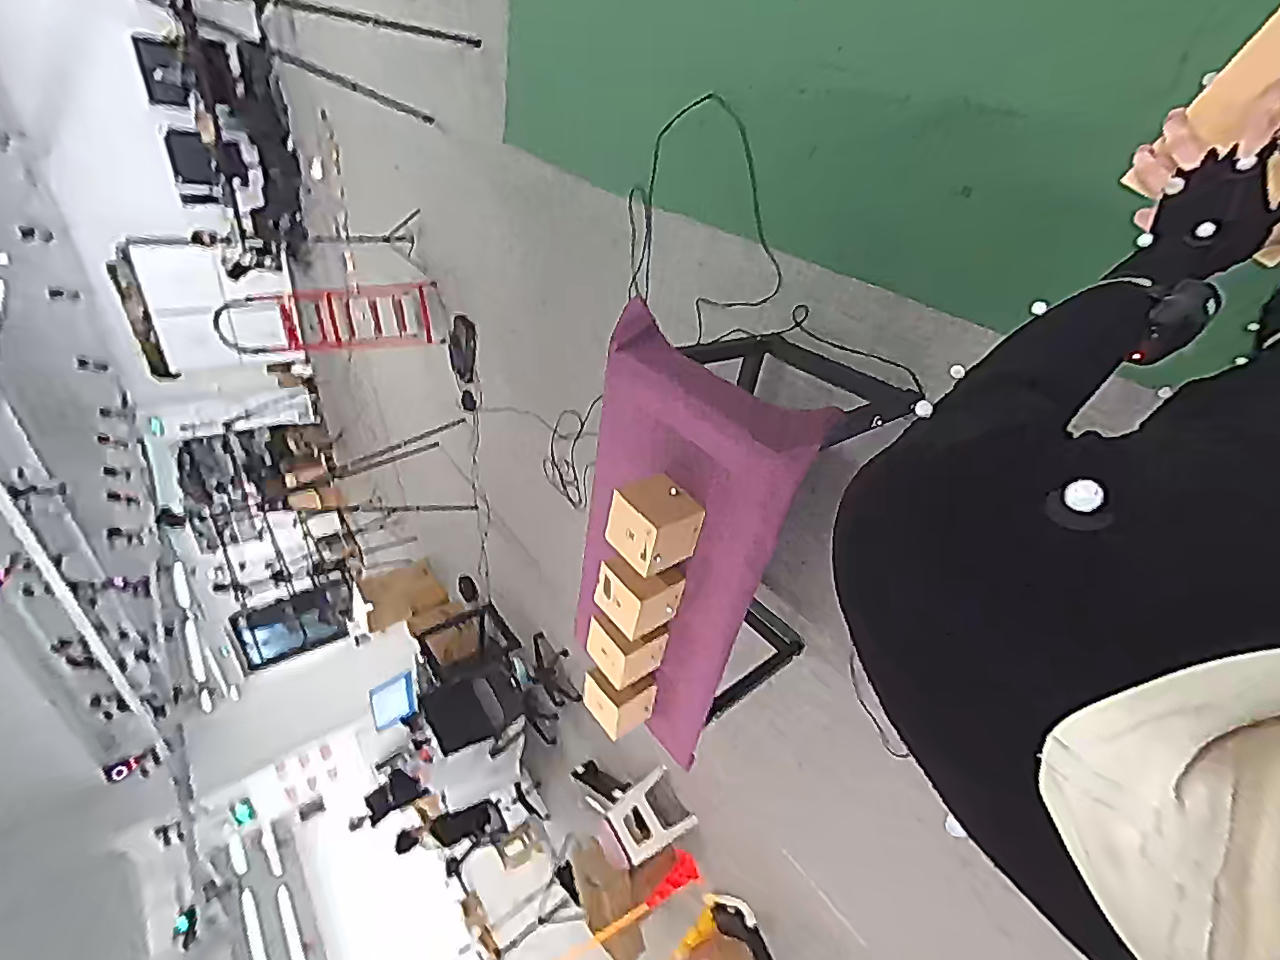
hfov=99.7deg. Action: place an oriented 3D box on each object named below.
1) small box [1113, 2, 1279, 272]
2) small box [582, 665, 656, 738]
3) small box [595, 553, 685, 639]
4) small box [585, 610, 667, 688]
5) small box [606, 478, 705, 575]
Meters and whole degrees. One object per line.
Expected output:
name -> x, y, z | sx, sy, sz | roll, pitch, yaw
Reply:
small box -> 0.646, -0.333, 0.538 | 0.168, 0.176, 0.179 | 54, 143, 25
small box -> -0.073, 0.710, 1.804 | 0.179, 0.176, 0.168 | 36, 131, 38
small box -> -0.002, 0.310, 1.540 | 0.179, 0.176, 0.168 | 42, 135, 33
small box -> -0.045, 0.497, 1.676 | 0.179, 0.176, 0.168 | 41, 134, 35
small box -> 0.038, 0.111, 1.403 | 0.179, 0.176, 0.168 | 43, 136, 35
